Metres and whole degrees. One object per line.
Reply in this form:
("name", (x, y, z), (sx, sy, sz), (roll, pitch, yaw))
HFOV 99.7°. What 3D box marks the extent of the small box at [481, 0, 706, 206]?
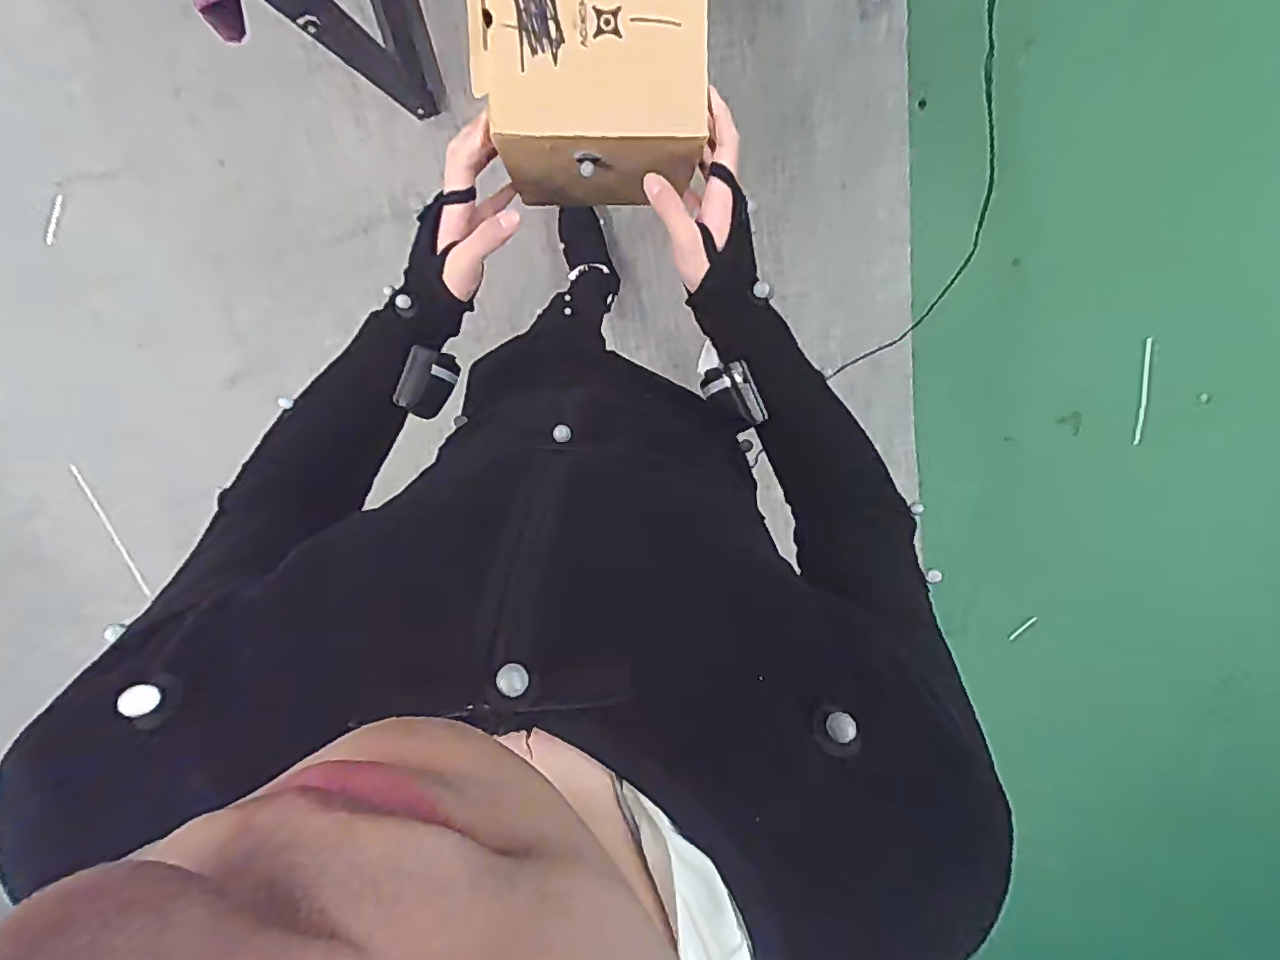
("small box", (-0.039, -0.365, 0.497), (0.179, 0.176, 0.168), (-2, 99, -4))
